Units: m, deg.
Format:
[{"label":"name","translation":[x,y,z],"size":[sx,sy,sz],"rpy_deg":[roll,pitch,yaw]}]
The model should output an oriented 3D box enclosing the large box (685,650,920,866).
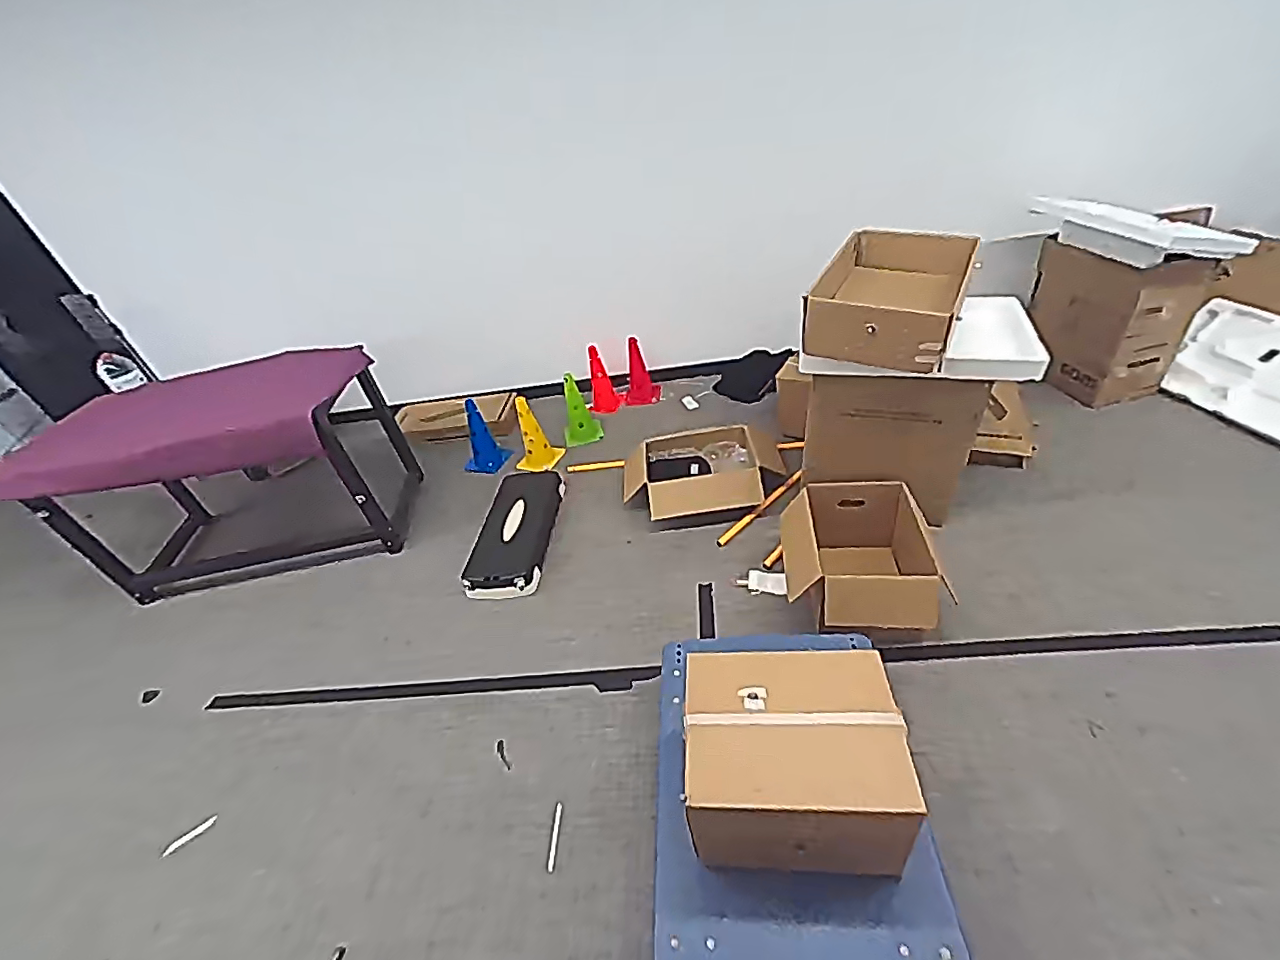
[{"label":"large box","translation":[0.315,0.591,1.147],"size":[0.408,0.320,0.320],"rpy_deg":[-6,37,9]}]
